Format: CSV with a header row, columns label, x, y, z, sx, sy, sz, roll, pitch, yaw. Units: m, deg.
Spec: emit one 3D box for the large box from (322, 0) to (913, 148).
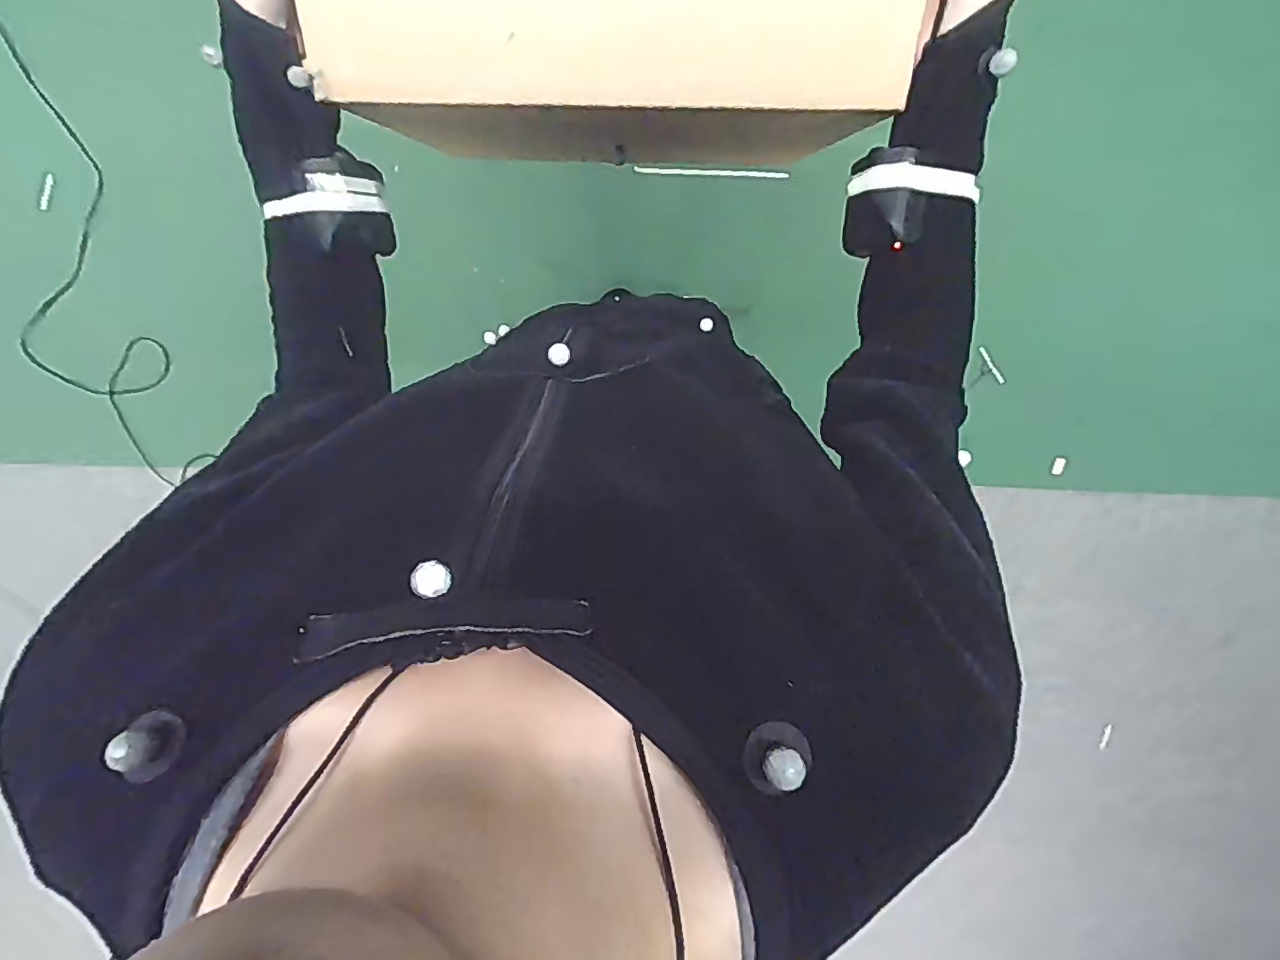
label,x,y,z,sx,sy,sz,roll,pitch,yaw
large box,-0.013,-0.473,0.454,0.408,0.320,0.320,1,114,0
